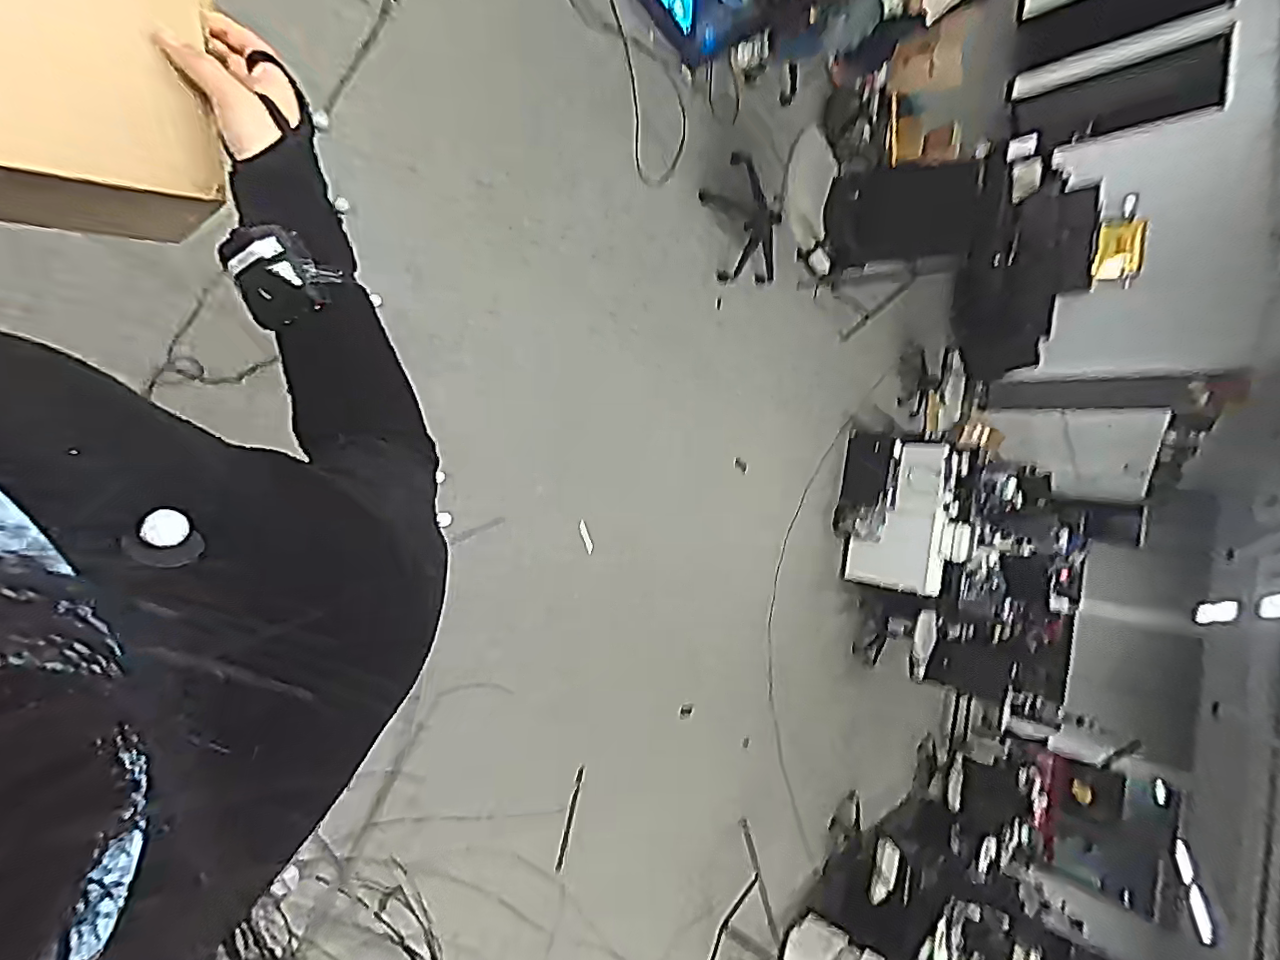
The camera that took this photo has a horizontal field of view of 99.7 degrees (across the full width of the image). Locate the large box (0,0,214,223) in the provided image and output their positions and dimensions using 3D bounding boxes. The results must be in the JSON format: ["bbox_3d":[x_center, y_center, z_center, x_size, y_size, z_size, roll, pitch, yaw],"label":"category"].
[{"bbox_3d":[-0.570,-0.372,0.350,0.408,0.320,0.320,-12,110,-42],"label":"large box"}]
